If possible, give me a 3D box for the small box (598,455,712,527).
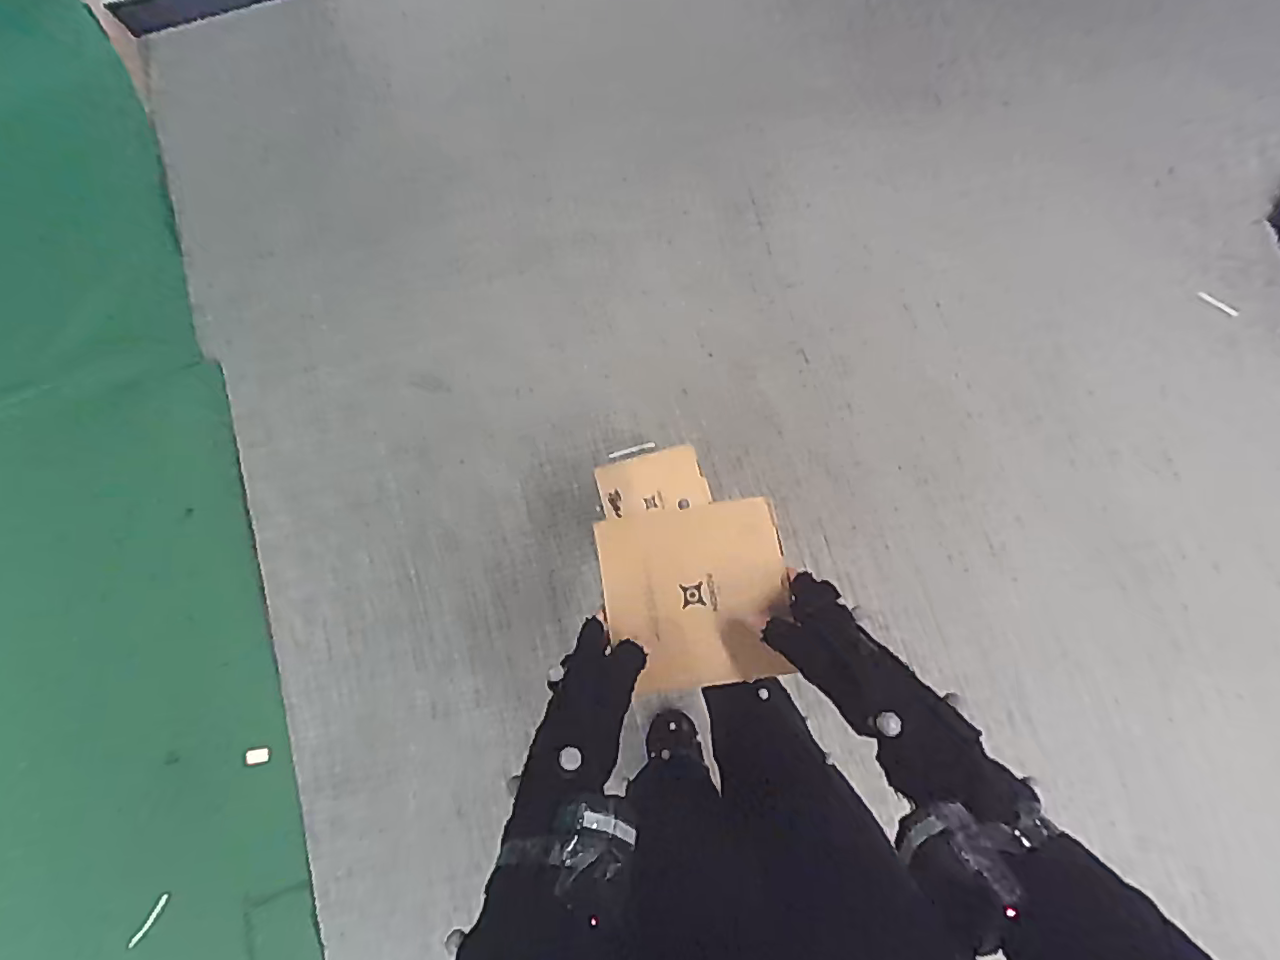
[{"bbox_3d":[0.033,0.066,0.981,0.179,0.176,0.168,-18,83,0],"label":"small box"}]

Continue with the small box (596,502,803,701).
[{"bbox_3d":[0.058,0.127,0.592,0.179,0.176,0.168,-11,78,3],"label":"small box"}]
